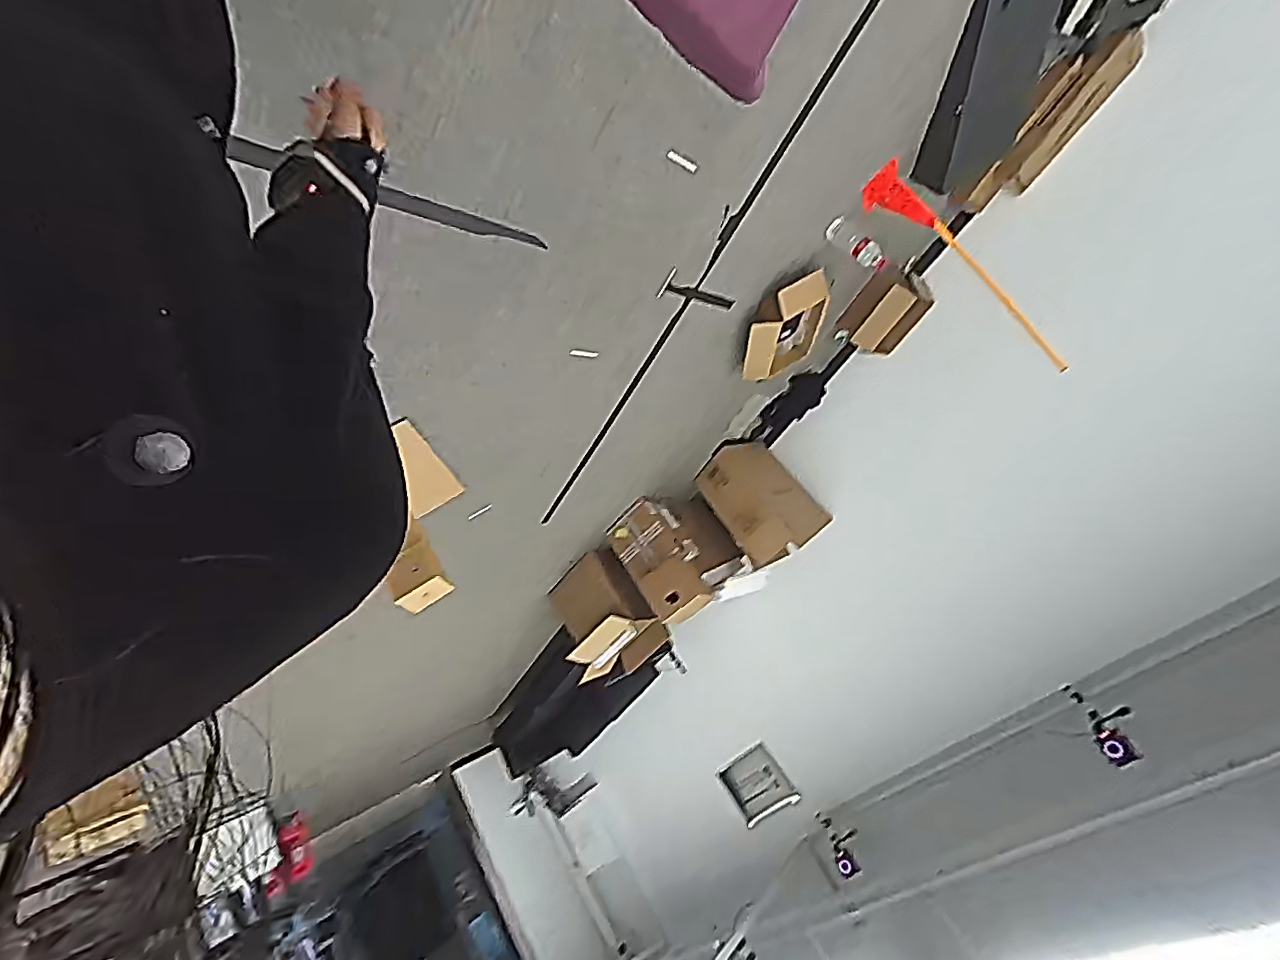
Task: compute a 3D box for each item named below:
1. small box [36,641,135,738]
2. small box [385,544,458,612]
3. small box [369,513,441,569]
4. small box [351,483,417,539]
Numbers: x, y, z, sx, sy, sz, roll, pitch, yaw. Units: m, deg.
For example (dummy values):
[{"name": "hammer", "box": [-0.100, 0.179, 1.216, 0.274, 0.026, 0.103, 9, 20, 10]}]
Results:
[{"name": "small box", "box": [-1.523, 0.561, 1.482, 0.168, 0.176, 0.179, -3, 139, -52]}, {"name": "small box", "box": [-0.820, 0.363, 2.027, 0.168, 0.176, 0.179, -33, 156, -11]}, {"name": "small box", "box": [-0.914, 0.252, 2.099, 0.168, 0.176, 0.179, -33, 156, -9]}, {"name": "small box", "box": [-1.016, 0.141, 2.167, 0.168, 0.176, 0.179, -34, 155, -8]}]
